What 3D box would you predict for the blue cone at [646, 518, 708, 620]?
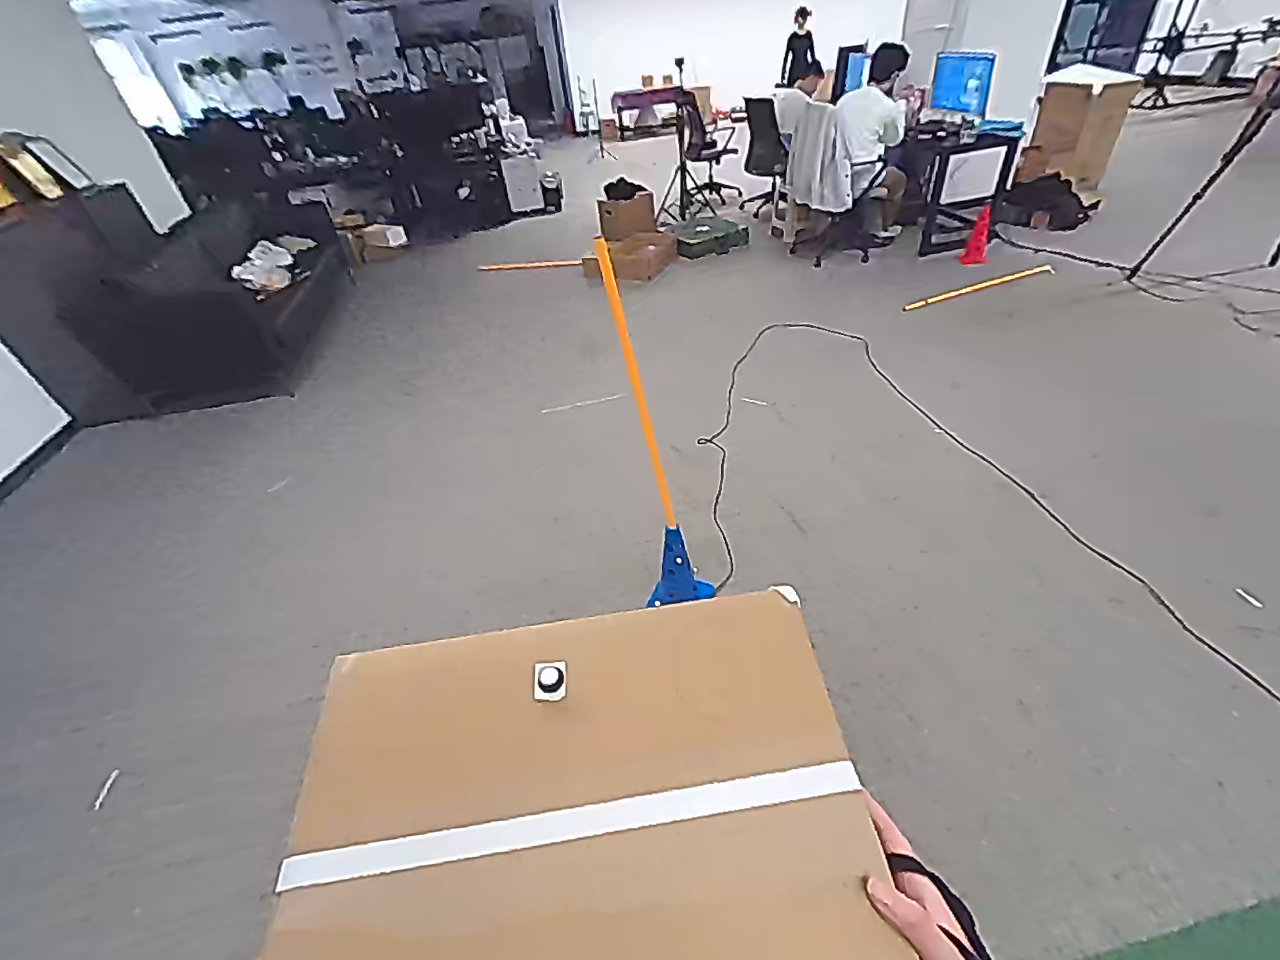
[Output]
[{"bbox_3d":[0.111,0.268,1.754,0.192,0.380,0.193,9,43,20],"label":"blue cone"}]
